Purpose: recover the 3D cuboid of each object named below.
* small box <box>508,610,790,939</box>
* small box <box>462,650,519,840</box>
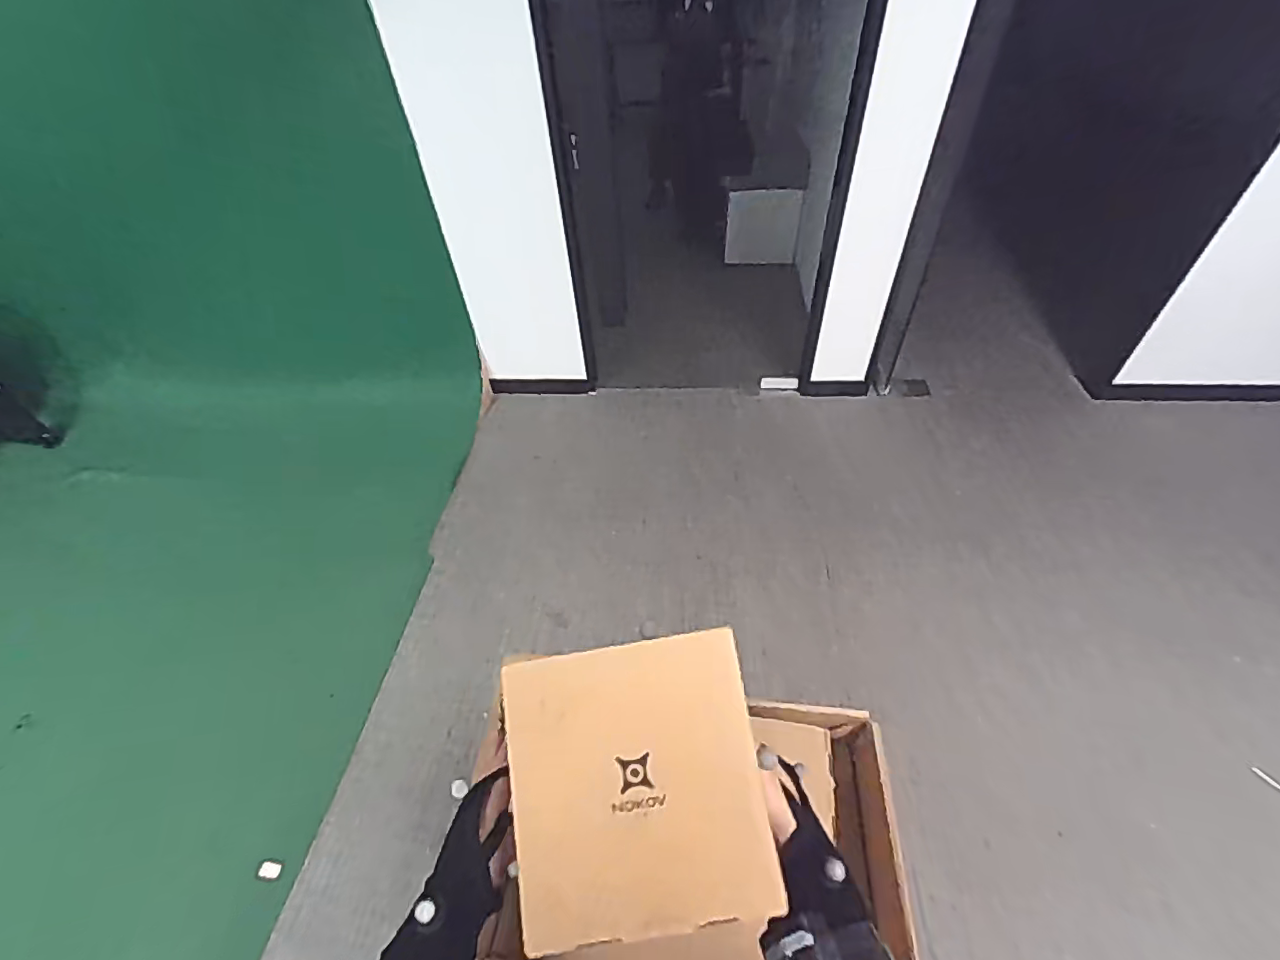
[{"bbox_3d":[0.002,0.207,0.428,0.168,0.176,0.179,-9,74,0],"label":"small box"},{"bbox_3d":[-0.078,0.318,0.634,0.179,0.176,0.168,2,46,6],"label":"small box"}]
